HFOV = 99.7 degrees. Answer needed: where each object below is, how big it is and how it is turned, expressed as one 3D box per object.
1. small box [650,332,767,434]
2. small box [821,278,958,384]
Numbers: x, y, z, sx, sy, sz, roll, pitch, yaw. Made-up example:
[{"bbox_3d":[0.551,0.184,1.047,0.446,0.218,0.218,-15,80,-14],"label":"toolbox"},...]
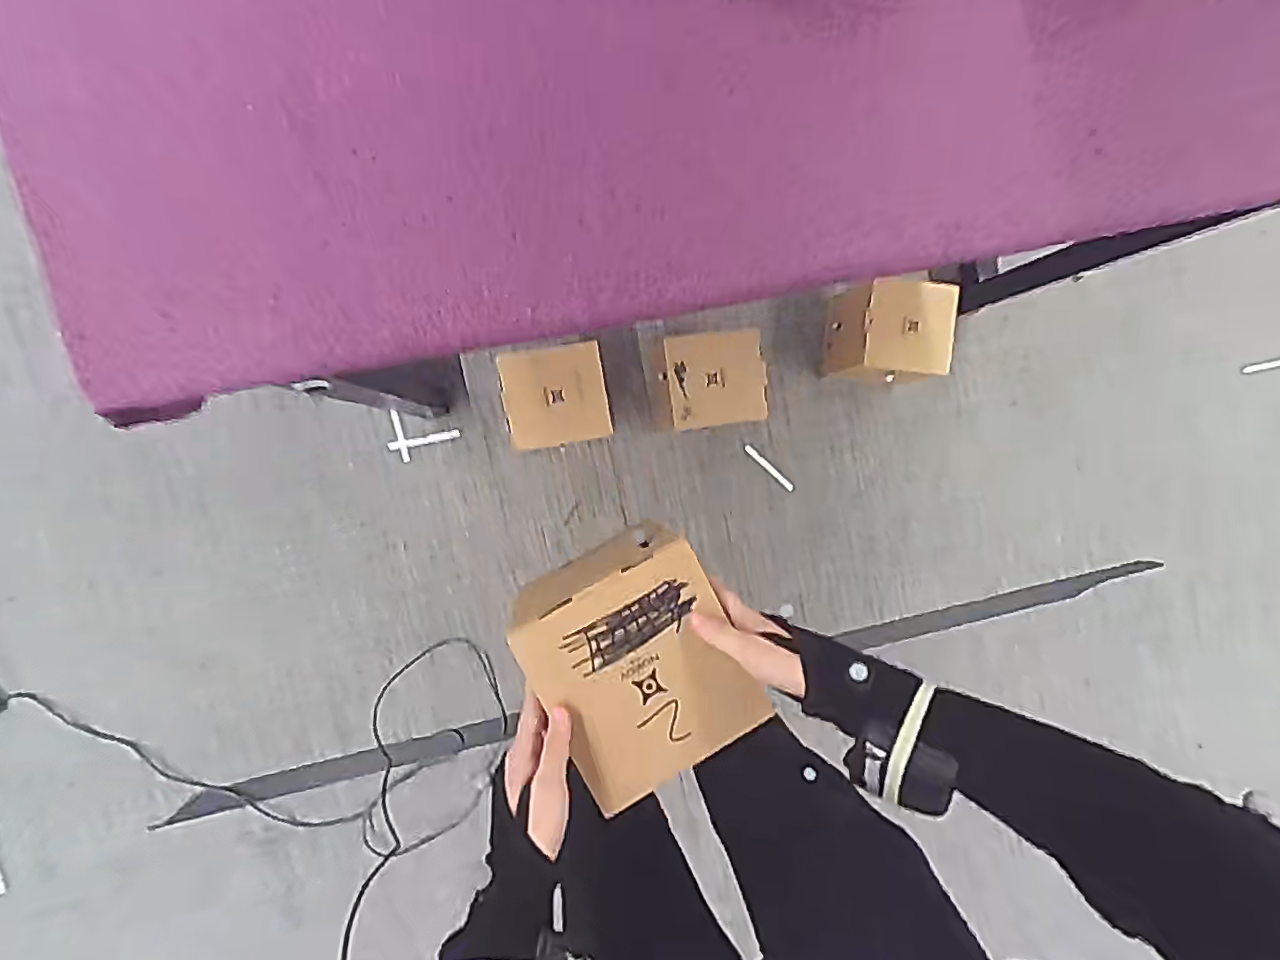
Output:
[{"bbox_3d":[0.125,-0.180,1.034,0.179,0.176,0.168,-8,94,-7],"label":"small box"},{"bbox_3d":[0.487,-0.286,1.076,0.179,0.176,0.168,5,93,-7],"label":"small box"}]
